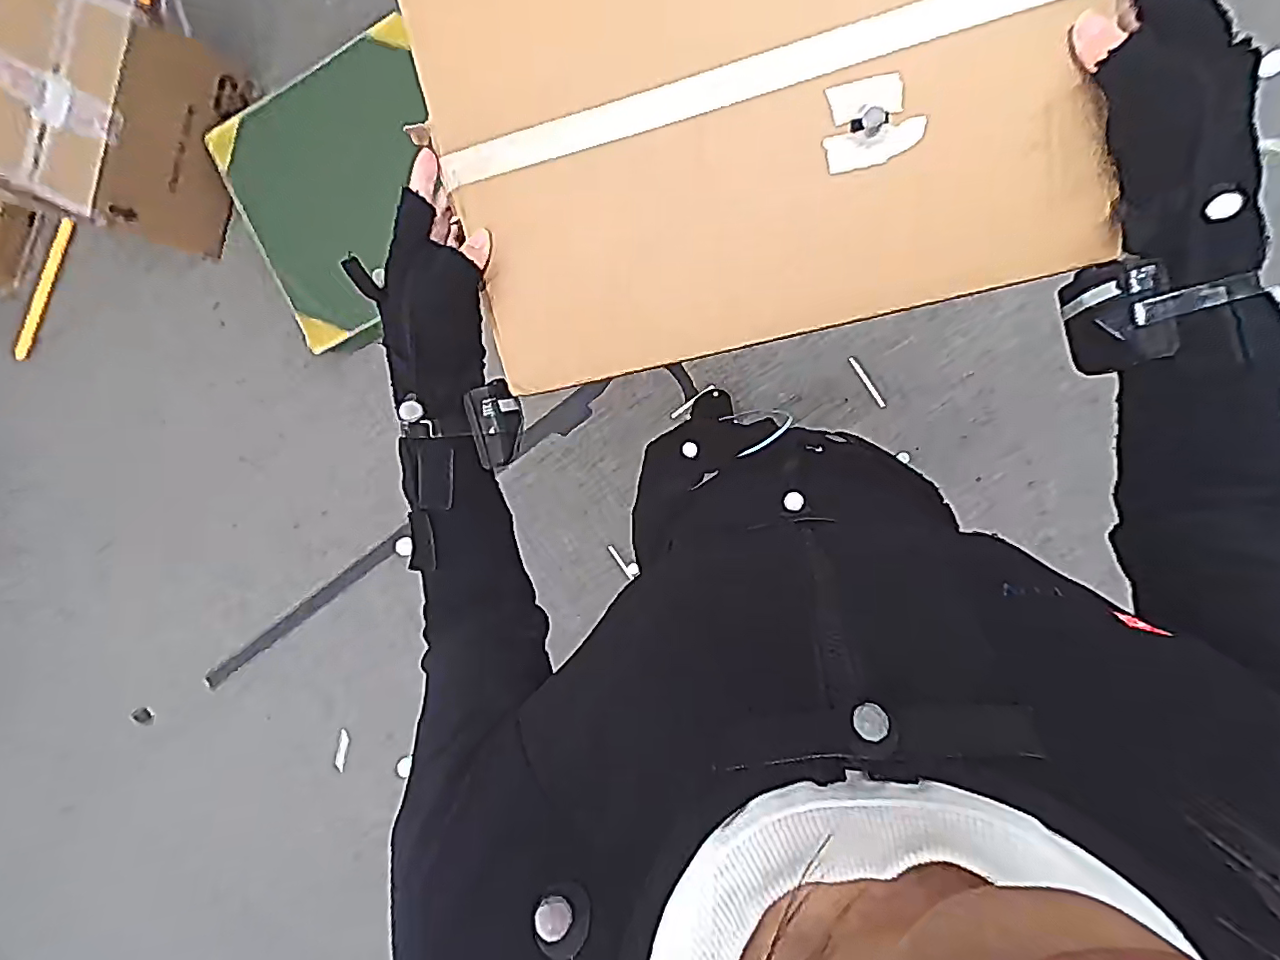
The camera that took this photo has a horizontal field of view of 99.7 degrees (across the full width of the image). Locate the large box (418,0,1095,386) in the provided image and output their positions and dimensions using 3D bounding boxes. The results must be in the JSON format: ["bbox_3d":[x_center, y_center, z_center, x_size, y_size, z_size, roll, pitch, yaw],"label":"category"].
[{"bbox_3d":[0.083,-0.289,0.493,0.408,0.320,0.320,-11,103,8],"label":"large box"}]
